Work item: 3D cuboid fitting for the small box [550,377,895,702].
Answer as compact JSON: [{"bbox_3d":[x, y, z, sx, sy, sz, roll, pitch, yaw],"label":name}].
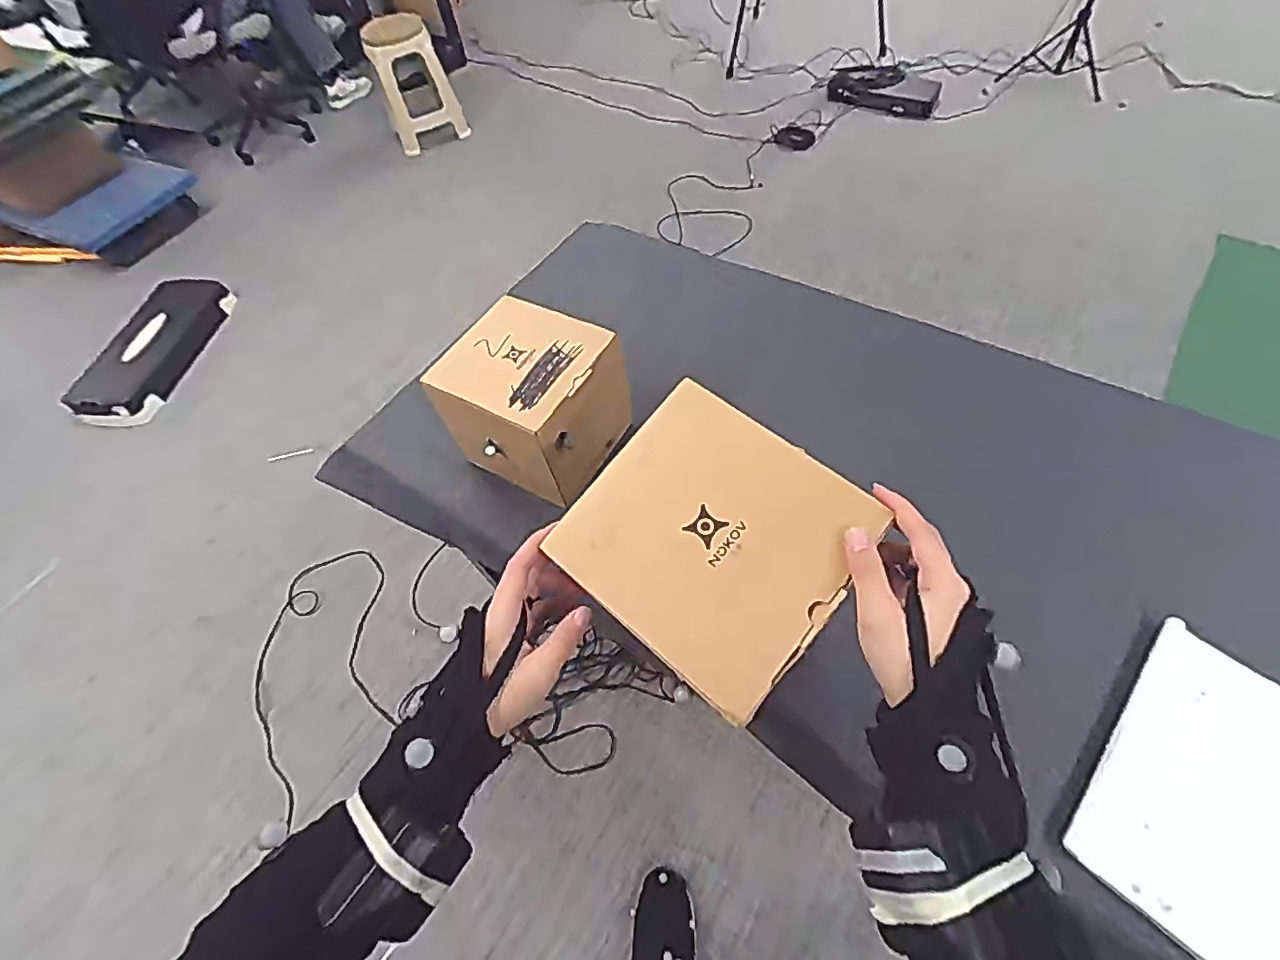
[{"bbox_3d":[0.062,0.057,0.439,0.179,0.176,0.168,36,79,19],"label":"small box"}]
